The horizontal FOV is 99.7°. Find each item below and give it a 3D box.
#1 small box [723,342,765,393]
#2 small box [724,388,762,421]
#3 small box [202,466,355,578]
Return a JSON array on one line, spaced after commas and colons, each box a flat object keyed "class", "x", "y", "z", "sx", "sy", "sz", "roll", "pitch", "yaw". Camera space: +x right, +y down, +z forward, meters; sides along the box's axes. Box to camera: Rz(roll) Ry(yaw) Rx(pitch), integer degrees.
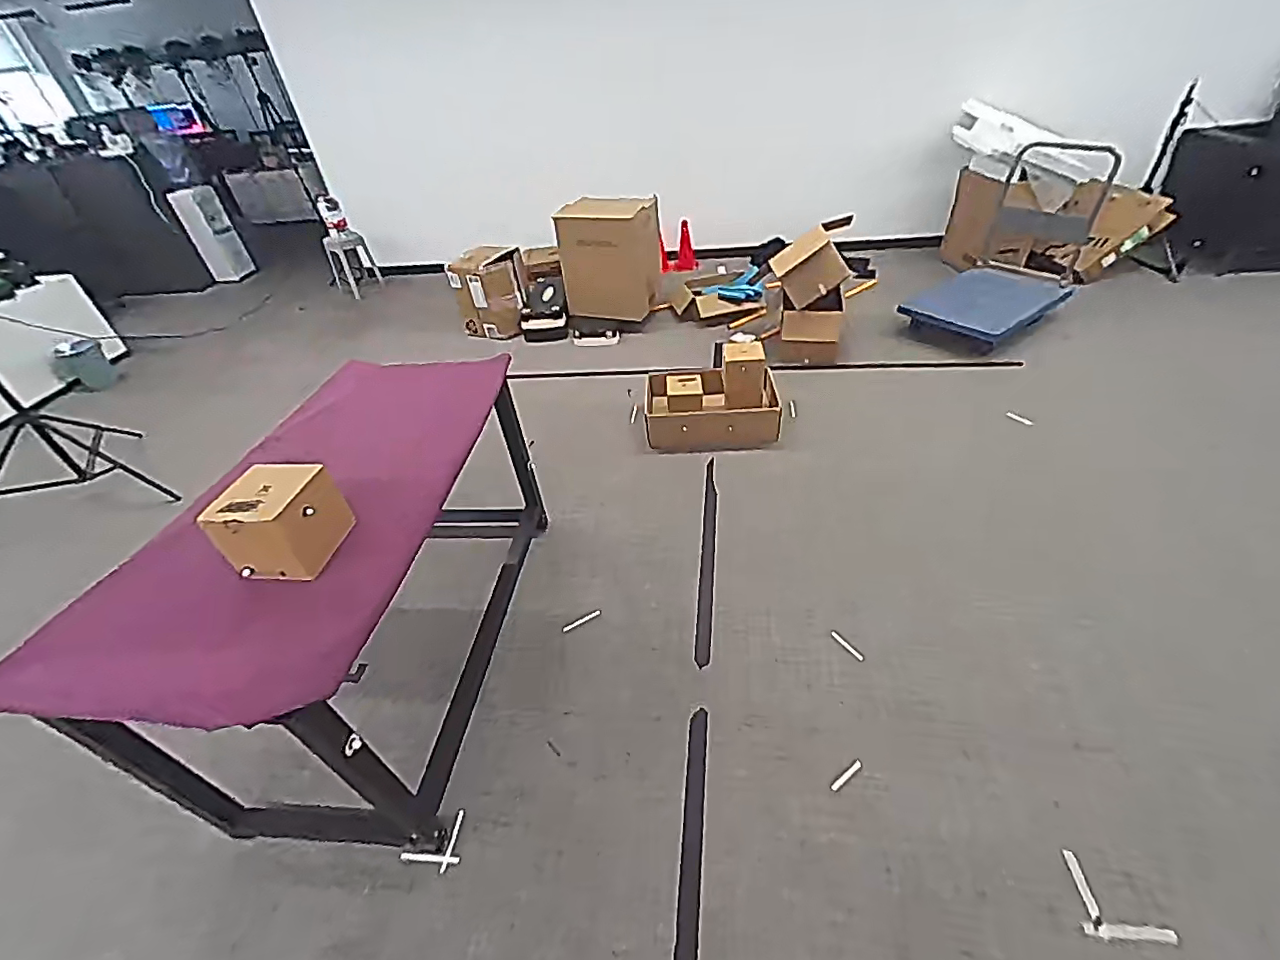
[{"class": "small box", "x": 0.472, "y": -0.513, "z": 2.480, "sx": 0.179, "sy": 0.176, "sz": 0.168, "roll": -3, "pitch": 40, "yaw": 6}, {"class": "small box", "x": 0.491, "y": -0.390, "z": 2.584, "sx": 0.168, "sy": 0.176, "sz": 0.179, "roll": -2, "pitch": 39, "yaw": 6}, {"class": "small box", "x": -0.733, "y": 0.088, "z": 1.125, "sx": 0.168, "sy": 0.176, "sz": 0.179, "roll": 0, "pitch": 39, "yaw": 8}]
